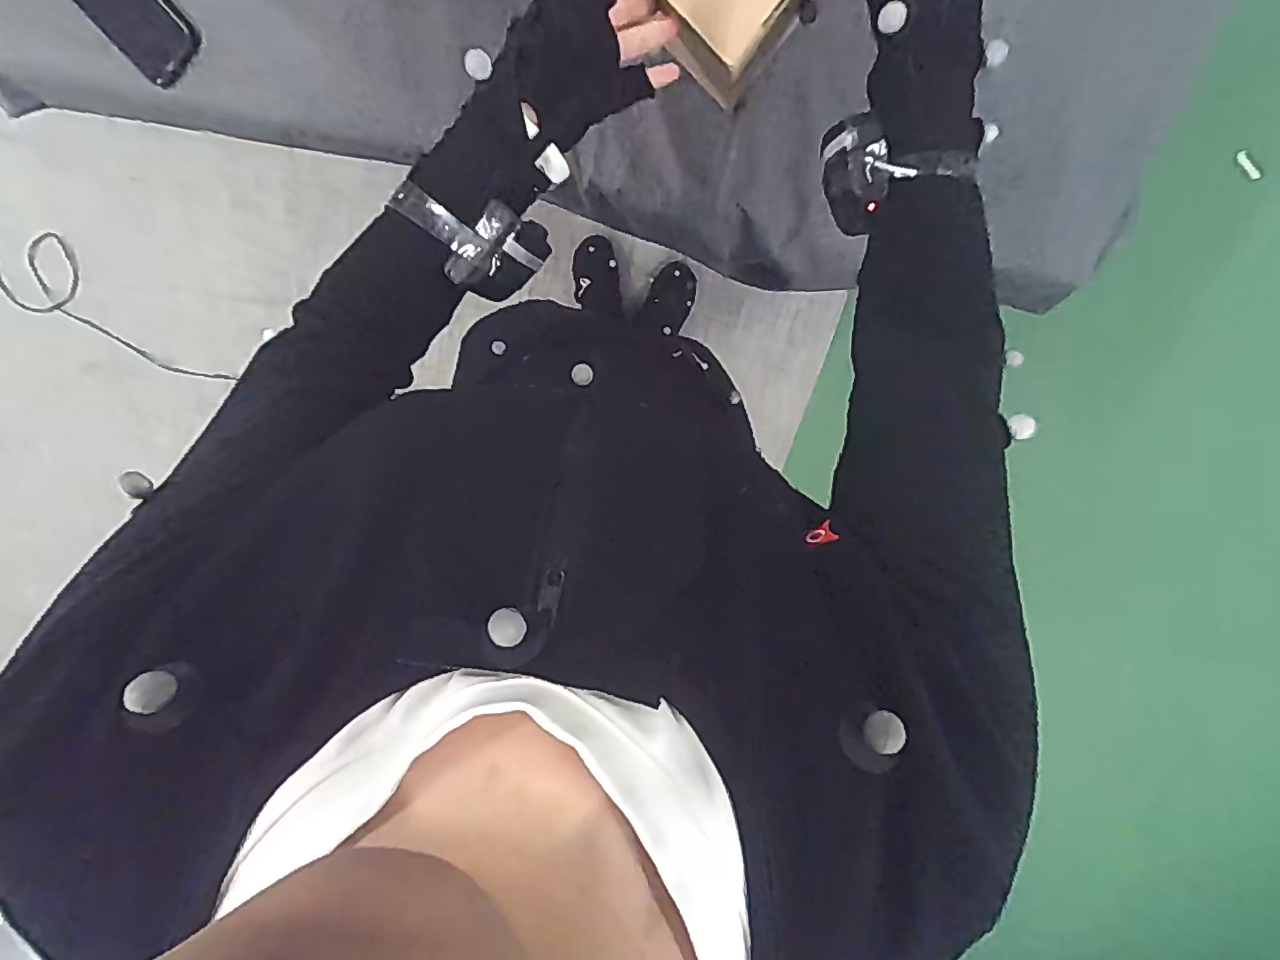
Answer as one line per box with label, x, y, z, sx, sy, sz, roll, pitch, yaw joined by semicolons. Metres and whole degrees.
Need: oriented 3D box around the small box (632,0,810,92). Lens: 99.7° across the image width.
small box;0.066;-0.442;0.418;0.179;0.176;0.168;42;114;-12
